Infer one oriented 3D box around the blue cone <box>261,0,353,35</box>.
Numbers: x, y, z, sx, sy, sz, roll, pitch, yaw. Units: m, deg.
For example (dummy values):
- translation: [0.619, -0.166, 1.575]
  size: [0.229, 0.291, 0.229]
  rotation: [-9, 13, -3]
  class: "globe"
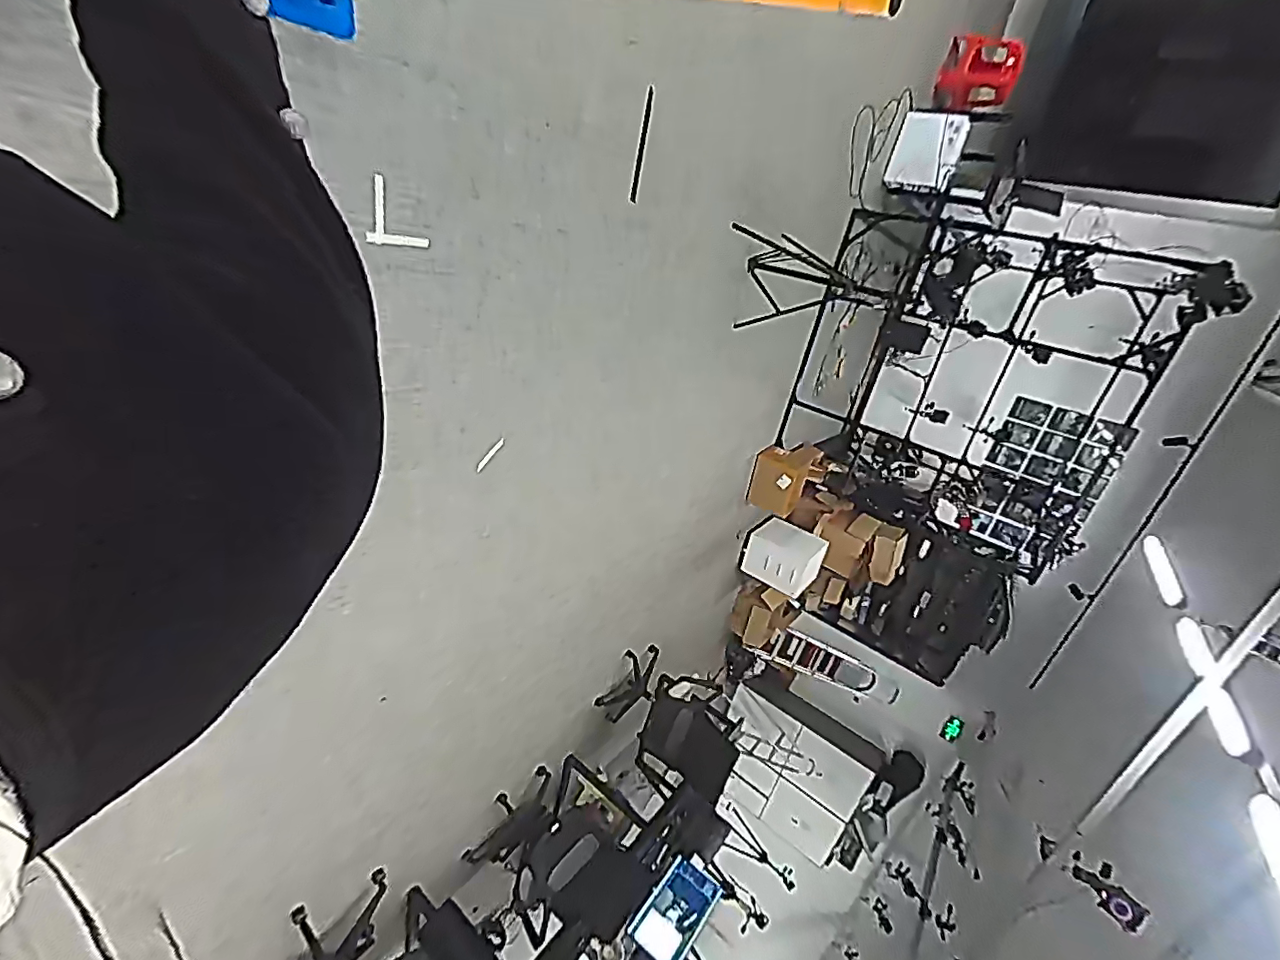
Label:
- translation: [-0.534, -0.949, 0.982]
  size: [0.193, 0.380, 0.192]
  rotation: [-24, 132, -49]
  class: "blue cone"
